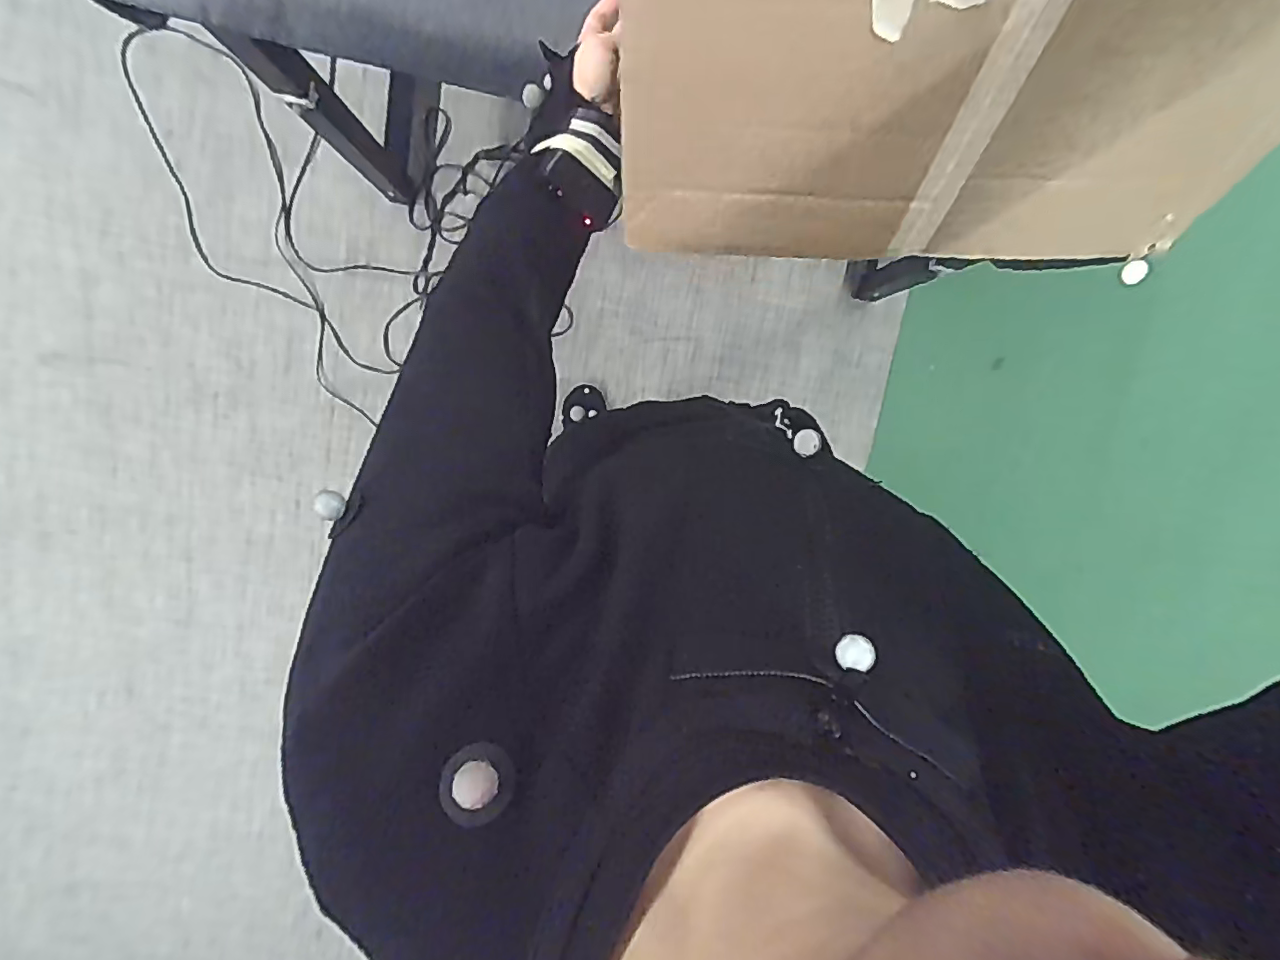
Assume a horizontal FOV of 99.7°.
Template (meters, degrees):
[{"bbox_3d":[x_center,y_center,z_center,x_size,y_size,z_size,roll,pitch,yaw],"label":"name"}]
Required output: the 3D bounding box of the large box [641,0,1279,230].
[{"bbox_3d":[0.156,-0.374,0.211,0.320,0.408,0.320,0,64,-1],"label":"large box"}]
